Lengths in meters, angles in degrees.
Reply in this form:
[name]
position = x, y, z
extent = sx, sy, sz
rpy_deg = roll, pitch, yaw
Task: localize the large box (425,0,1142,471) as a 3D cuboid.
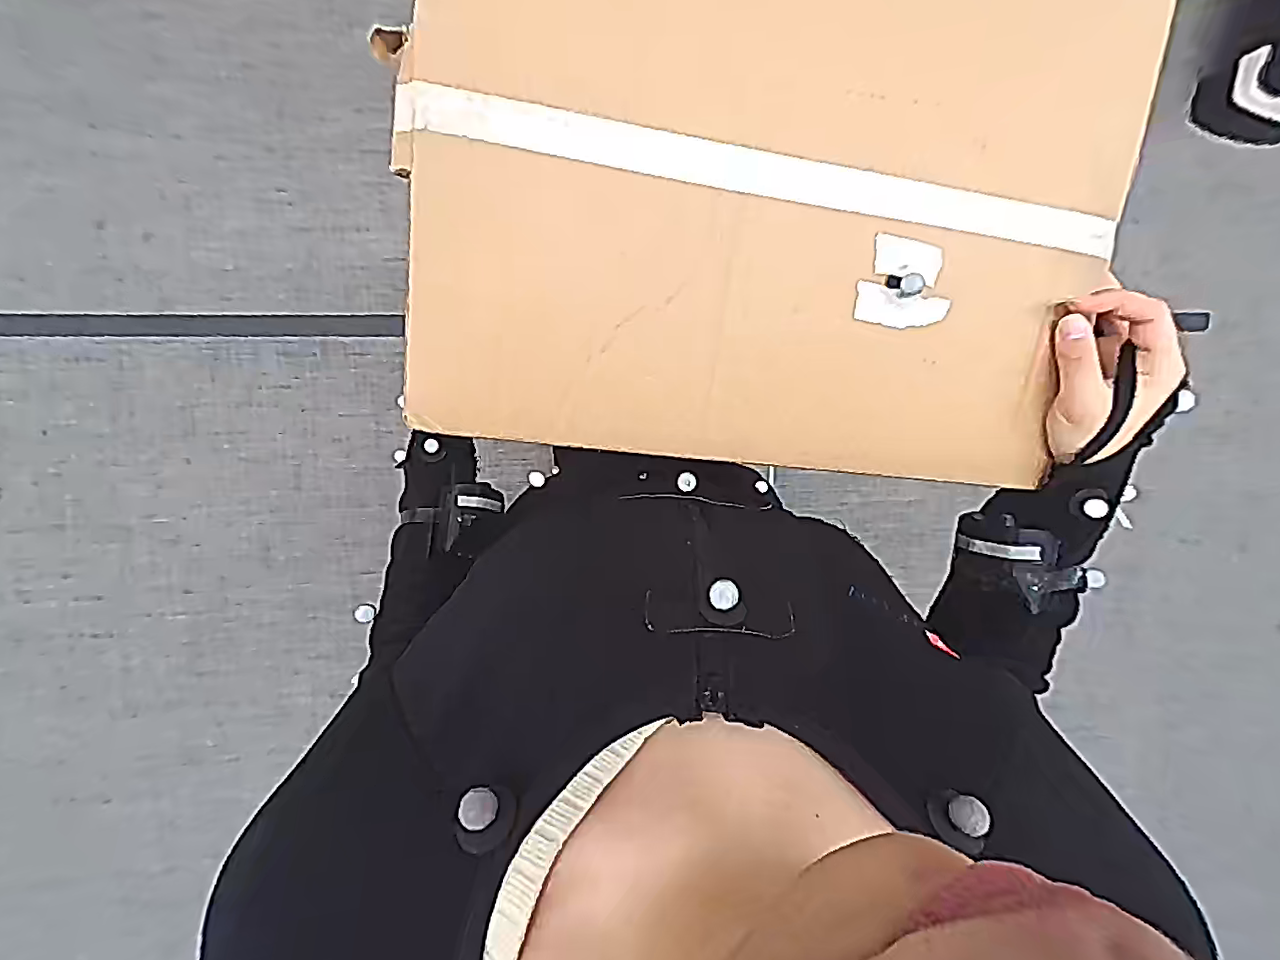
[large box]
position = 0.061, -0.197, 0.448
extent = 0.408, 0.320, 0.320
rpy_deg = 5, 102, -12
